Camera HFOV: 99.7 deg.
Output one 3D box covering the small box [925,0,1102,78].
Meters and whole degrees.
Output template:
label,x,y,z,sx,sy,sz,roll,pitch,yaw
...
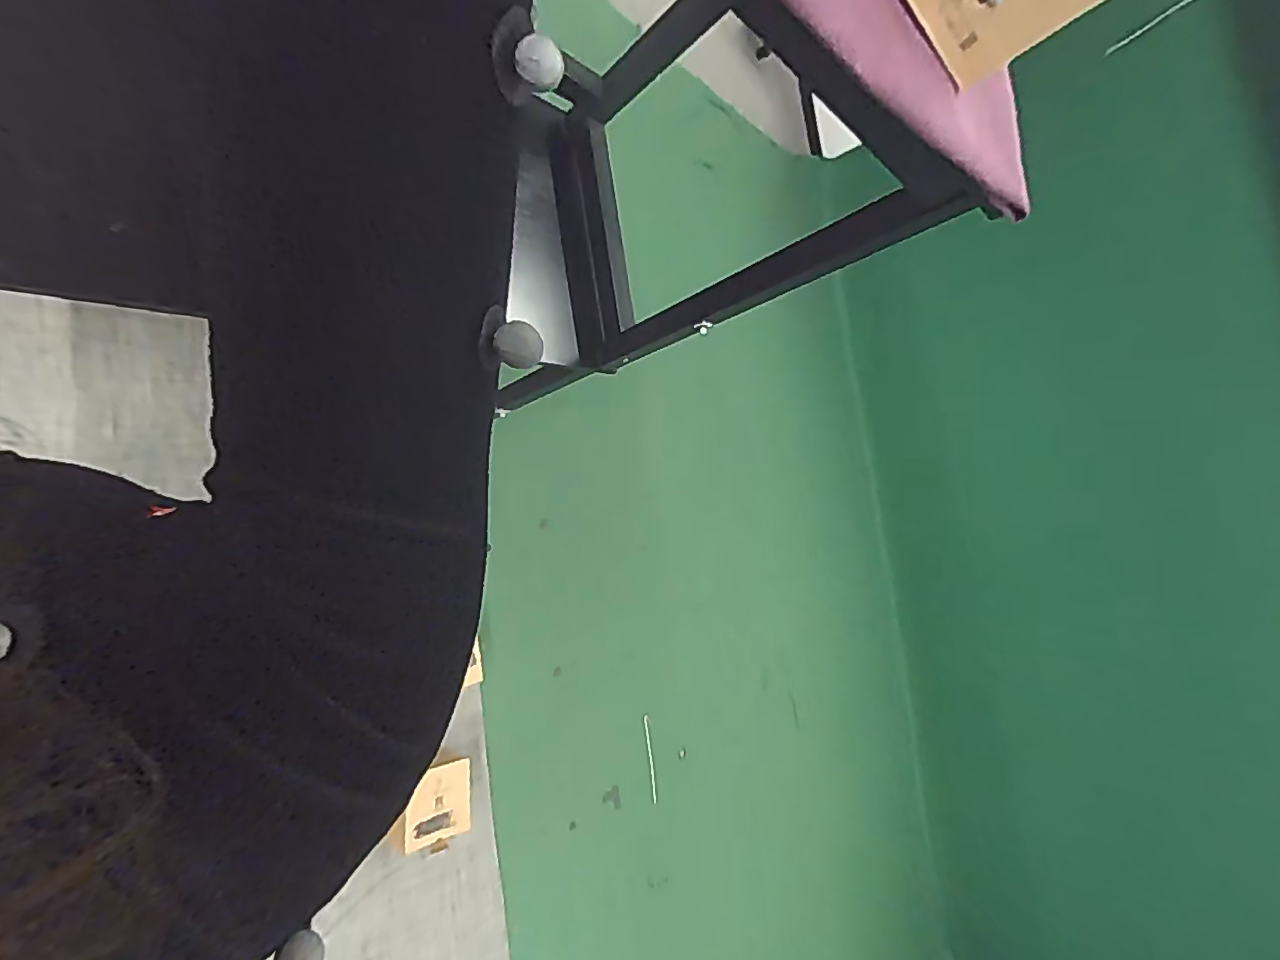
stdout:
label,x,y,z,sx,sy,sz,roll,pitch,yaw
small box,0.323,-0.503,0.451,0.168,0.176,0.179,1,79,-44
